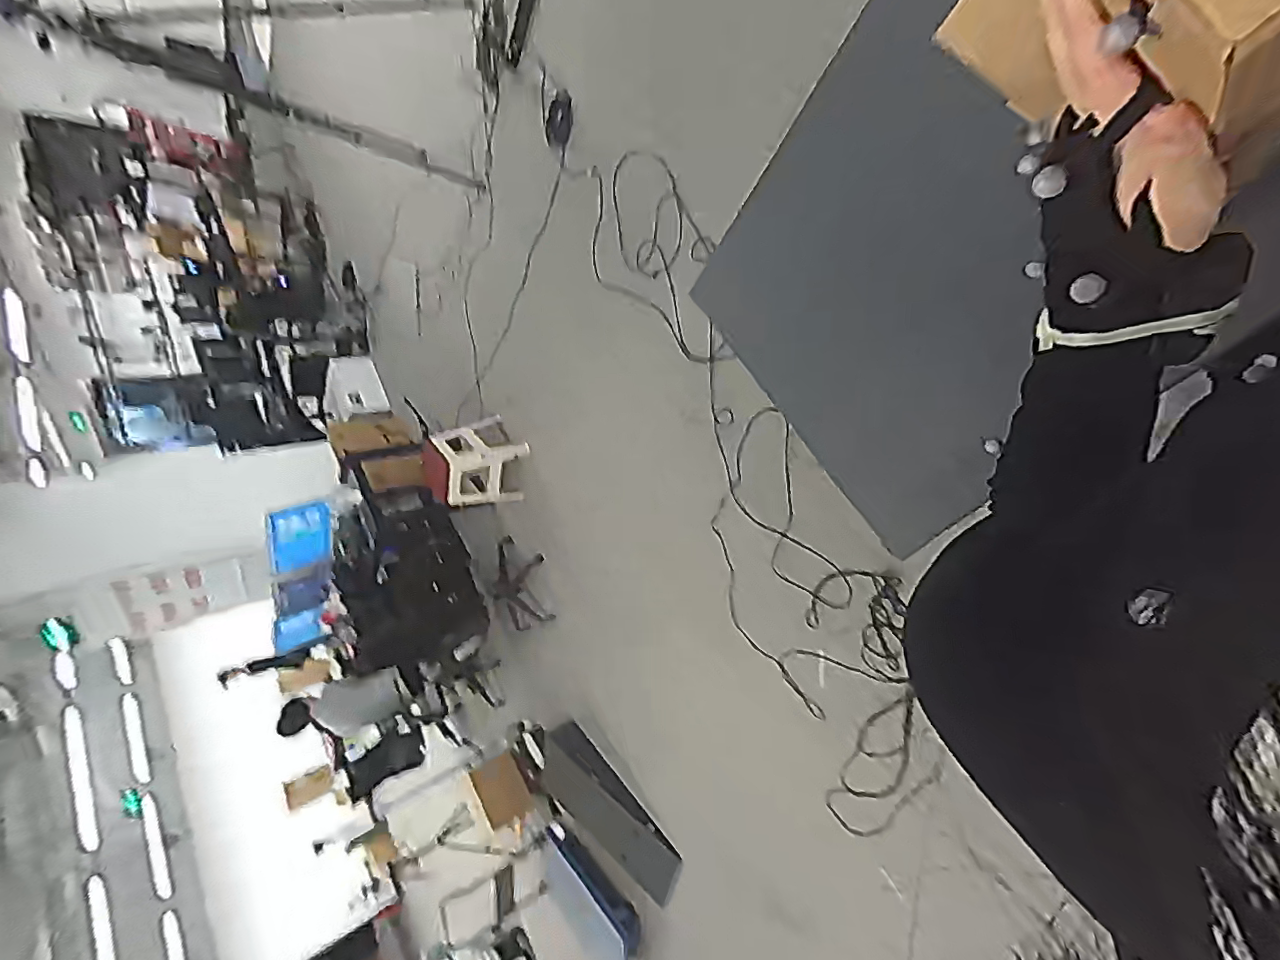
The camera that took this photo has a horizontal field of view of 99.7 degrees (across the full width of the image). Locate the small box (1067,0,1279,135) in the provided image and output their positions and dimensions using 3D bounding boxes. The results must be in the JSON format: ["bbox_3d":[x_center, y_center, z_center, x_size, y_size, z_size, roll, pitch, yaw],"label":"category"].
[{"bbox_3d":[0.248,-0.258,0.184,0.168,0.176,0.179,-41,75,43],"label":"small box"}]

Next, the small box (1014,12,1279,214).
[{"bbox_3d":[0.486,-0.357,0.472,0.179,0.176,0.168,56,138,22],"label":"small box"}]
